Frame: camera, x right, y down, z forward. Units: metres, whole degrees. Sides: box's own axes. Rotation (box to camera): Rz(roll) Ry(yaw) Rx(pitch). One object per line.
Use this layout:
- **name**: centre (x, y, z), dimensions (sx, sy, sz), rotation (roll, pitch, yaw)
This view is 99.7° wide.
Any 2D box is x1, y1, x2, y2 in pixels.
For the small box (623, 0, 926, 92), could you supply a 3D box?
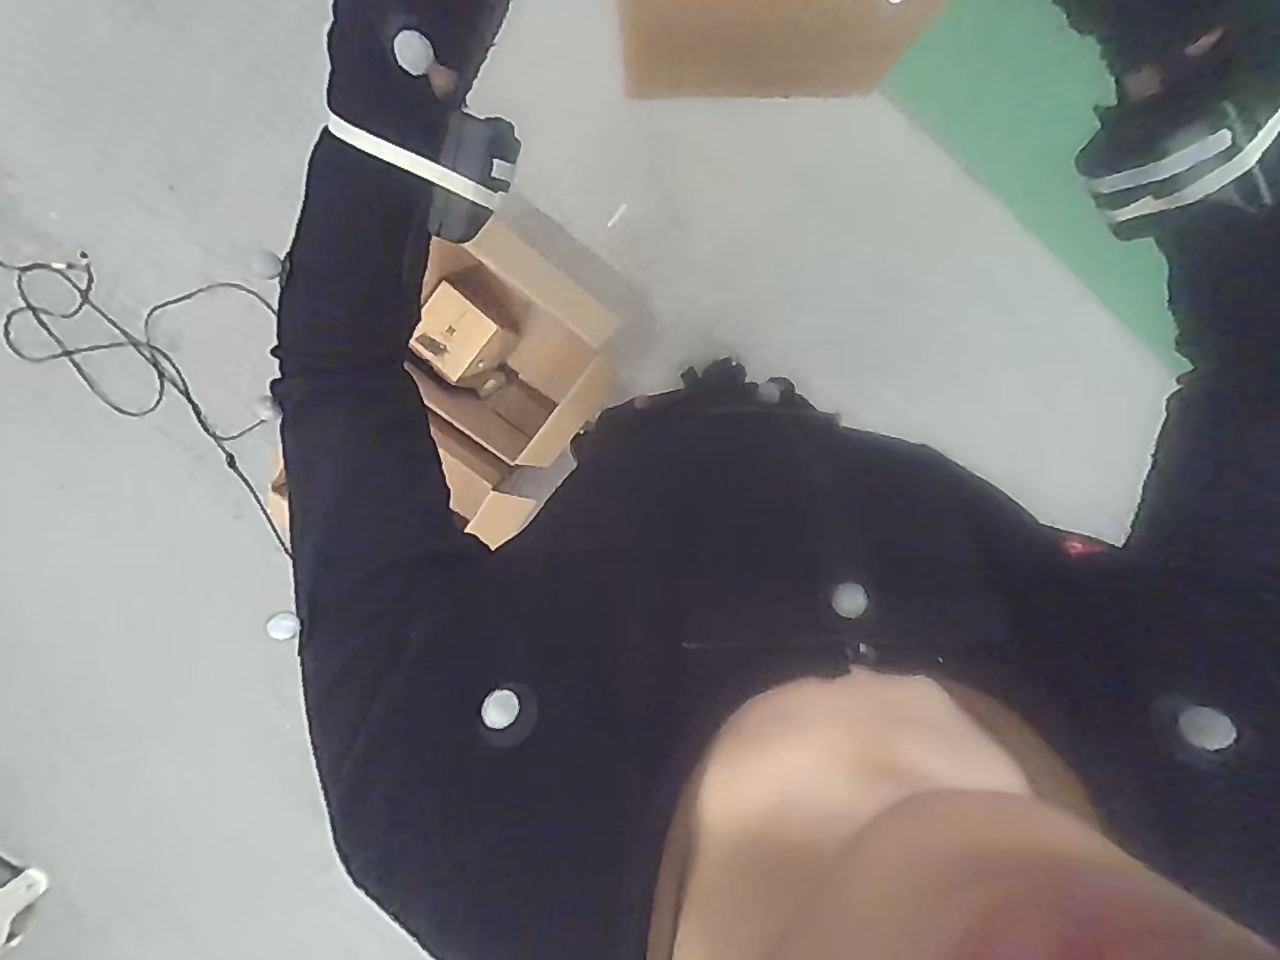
- **small box**: centre (0.076, -0.336, 0.289), dimensions (0.179, 0.176, 0.168), rotation (-1, 103, 0)
